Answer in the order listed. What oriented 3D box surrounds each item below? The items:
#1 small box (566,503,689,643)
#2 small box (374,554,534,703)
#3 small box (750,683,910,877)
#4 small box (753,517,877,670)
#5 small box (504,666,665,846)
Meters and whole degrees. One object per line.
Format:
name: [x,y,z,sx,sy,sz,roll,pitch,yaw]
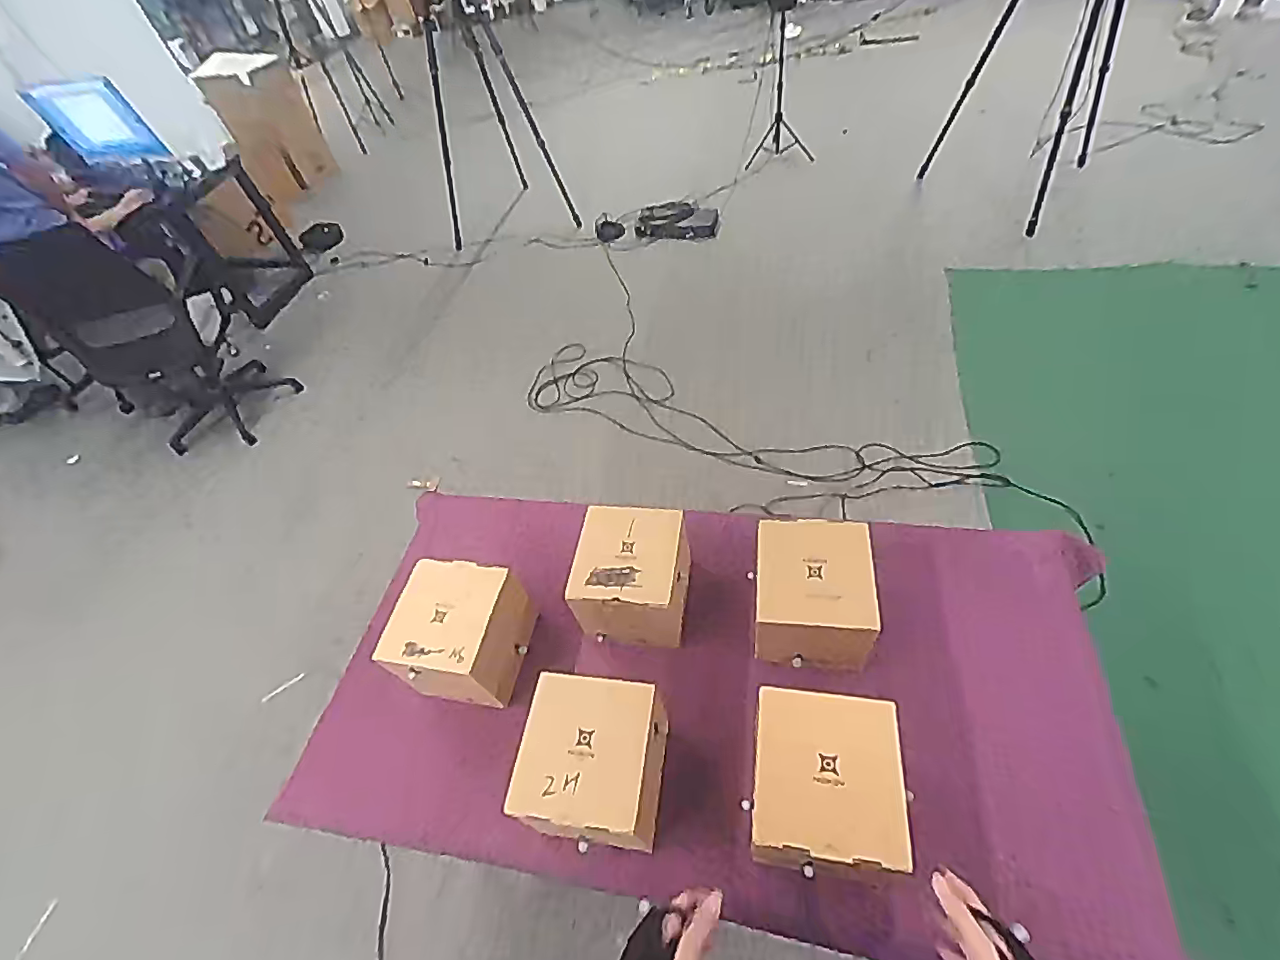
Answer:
small box: [-0.010,0.160,0.920,0.168,0.176,0.179,3,52,12]
small box: [-0.292,0.247,0.900,0.168,0.176,0.179,3,52,15]
small box: [0.231,0.386,0.696,0.168,0.176,0.179,2,52,13]
small box: [0.267,0.179,0.856,0.168,0.176,0.179,2,53,13]
small box: [-0.062,0.383,0.750,0.168,0.176,0.179,2,52,13]
